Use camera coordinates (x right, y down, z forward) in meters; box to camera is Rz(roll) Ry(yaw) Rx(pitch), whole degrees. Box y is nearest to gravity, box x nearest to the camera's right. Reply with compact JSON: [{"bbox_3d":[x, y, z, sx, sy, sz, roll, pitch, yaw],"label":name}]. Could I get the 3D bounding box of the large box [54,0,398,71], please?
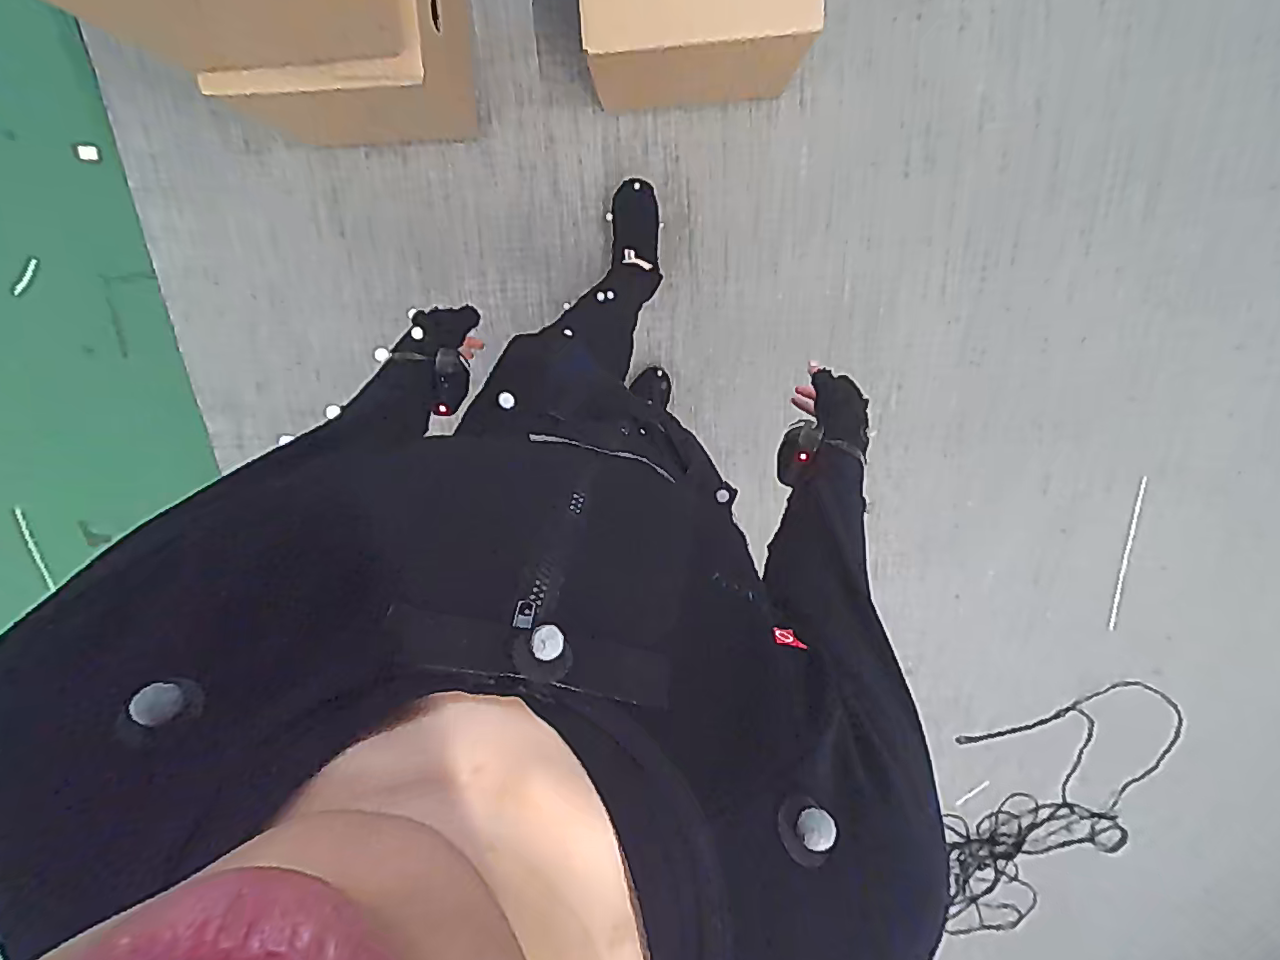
[{"bbox_3d":[-0.614,-0.819,0.739,0.408,0.320,0.320,-2,105,2],"label":"large box"}]
